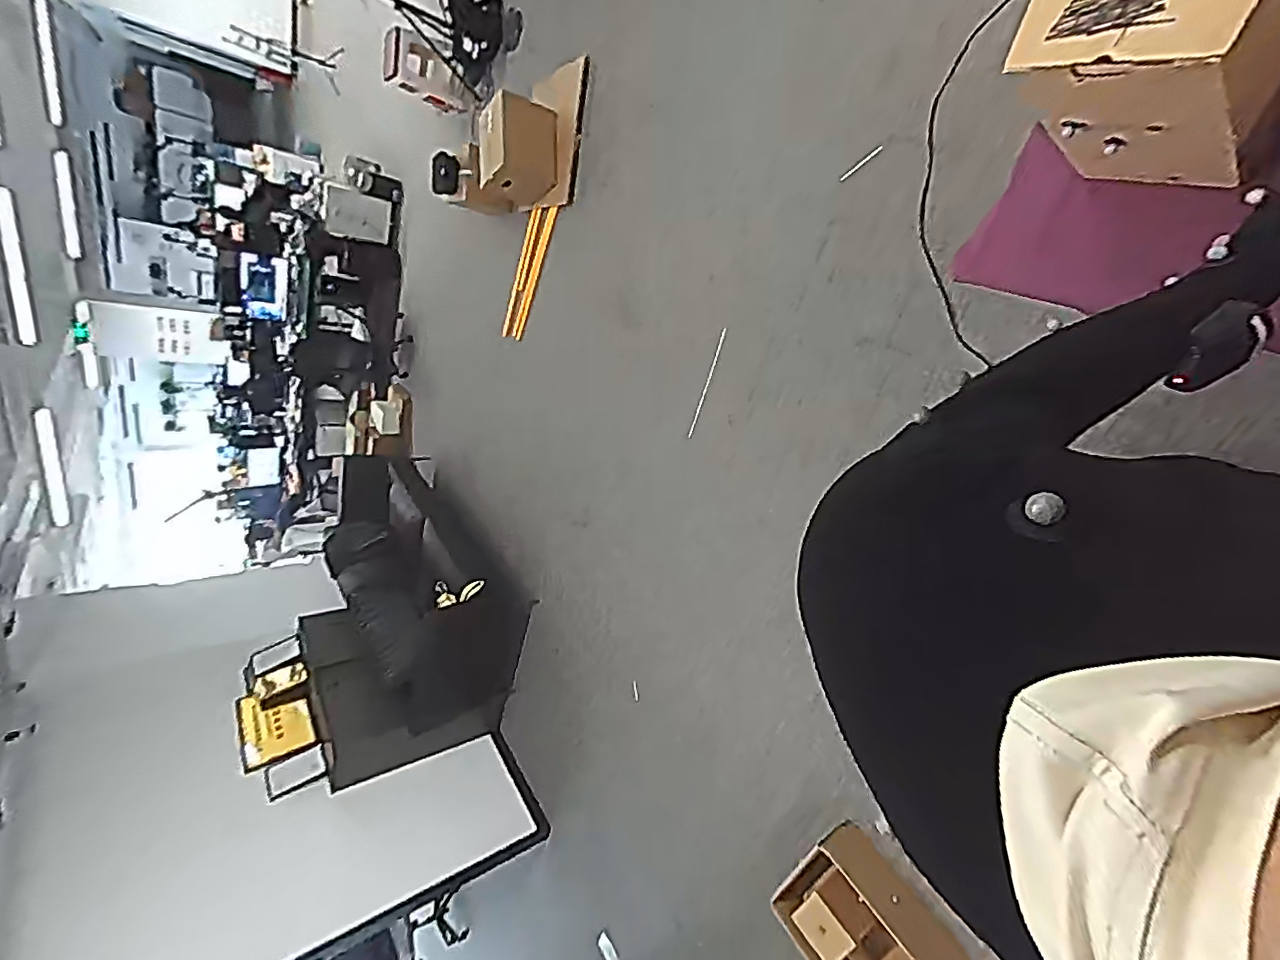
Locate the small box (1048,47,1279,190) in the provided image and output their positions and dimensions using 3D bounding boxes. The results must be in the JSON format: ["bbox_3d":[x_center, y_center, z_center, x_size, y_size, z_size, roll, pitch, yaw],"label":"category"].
[{"bbox_3d":[0.602,-0.446,0.593,0.168,0.176,0.179,38,120,43],"label":"small box"}]

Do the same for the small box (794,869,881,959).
[{"bbox_3d":[0.640,1.416,1.744,0.168,0.176,0.179,44,125,38],"label":"small box"}]

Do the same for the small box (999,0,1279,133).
[{"bbox_3d":[0.477,-0.437,0.487,0.168,0.176,0.179,37,120,42],"label":"small box"}]
